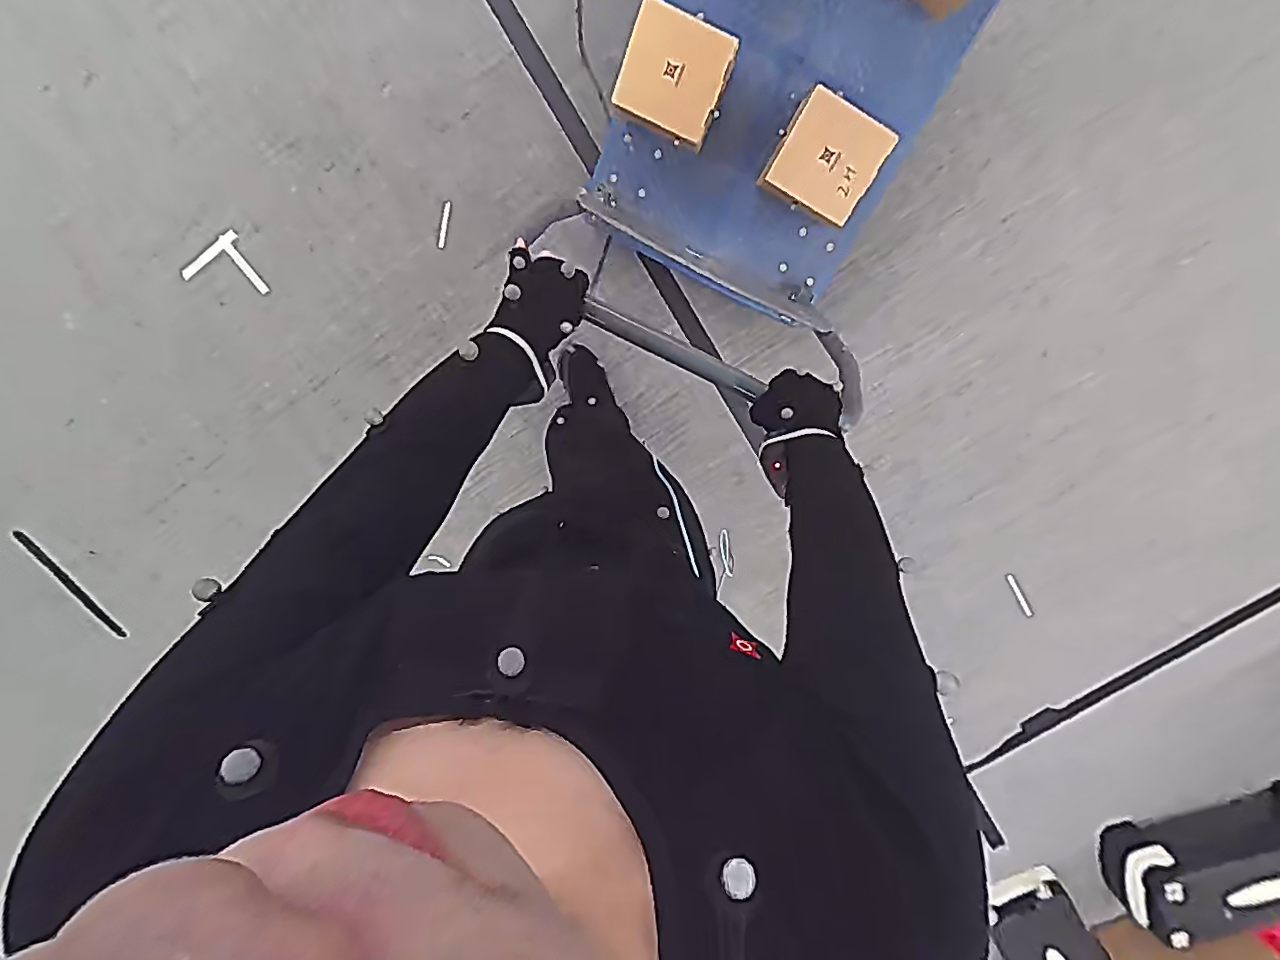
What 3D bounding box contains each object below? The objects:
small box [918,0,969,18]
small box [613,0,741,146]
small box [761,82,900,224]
[{"bbox_3d":[0.531,-0.912,0.873,0.168,0.176,0.179,35,116,-11],"label":"small box"},{"bbox_3d":[0.067,-0.747,1.006,0.179,0.176,0.168,22,116,-7],"label":"small box"},{"bbox_3d":[0.352,-0.614,1.041,0.179,0.176,0.168,28,116,-8],"label":"small box"}]
